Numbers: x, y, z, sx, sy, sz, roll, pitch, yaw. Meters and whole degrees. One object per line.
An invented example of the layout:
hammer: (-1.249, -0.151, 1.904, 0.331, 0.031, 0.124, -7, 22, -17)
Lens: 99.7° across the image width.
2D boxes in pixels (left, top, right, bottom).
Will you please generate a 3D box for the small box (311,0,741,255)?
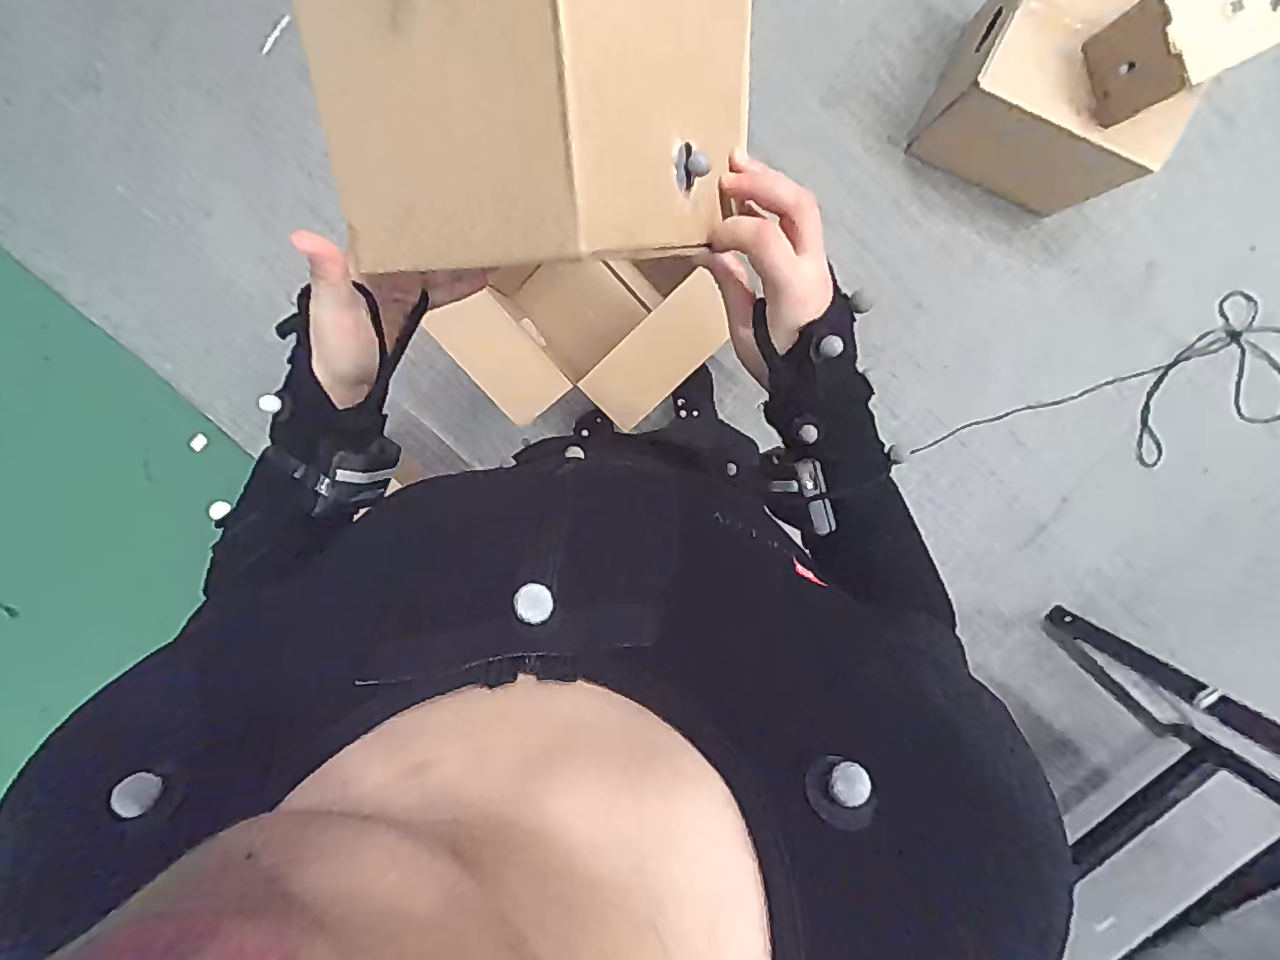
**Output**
small box: (-0.049, -0.223, 0.303, 0.168, 0.179, 0.176, 12, 116, 32)

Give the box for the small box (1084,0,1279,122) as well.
small box: (0.927, -0.775, 0.944, 0.179, 0.176, 0.168, -26, 100, 7)
